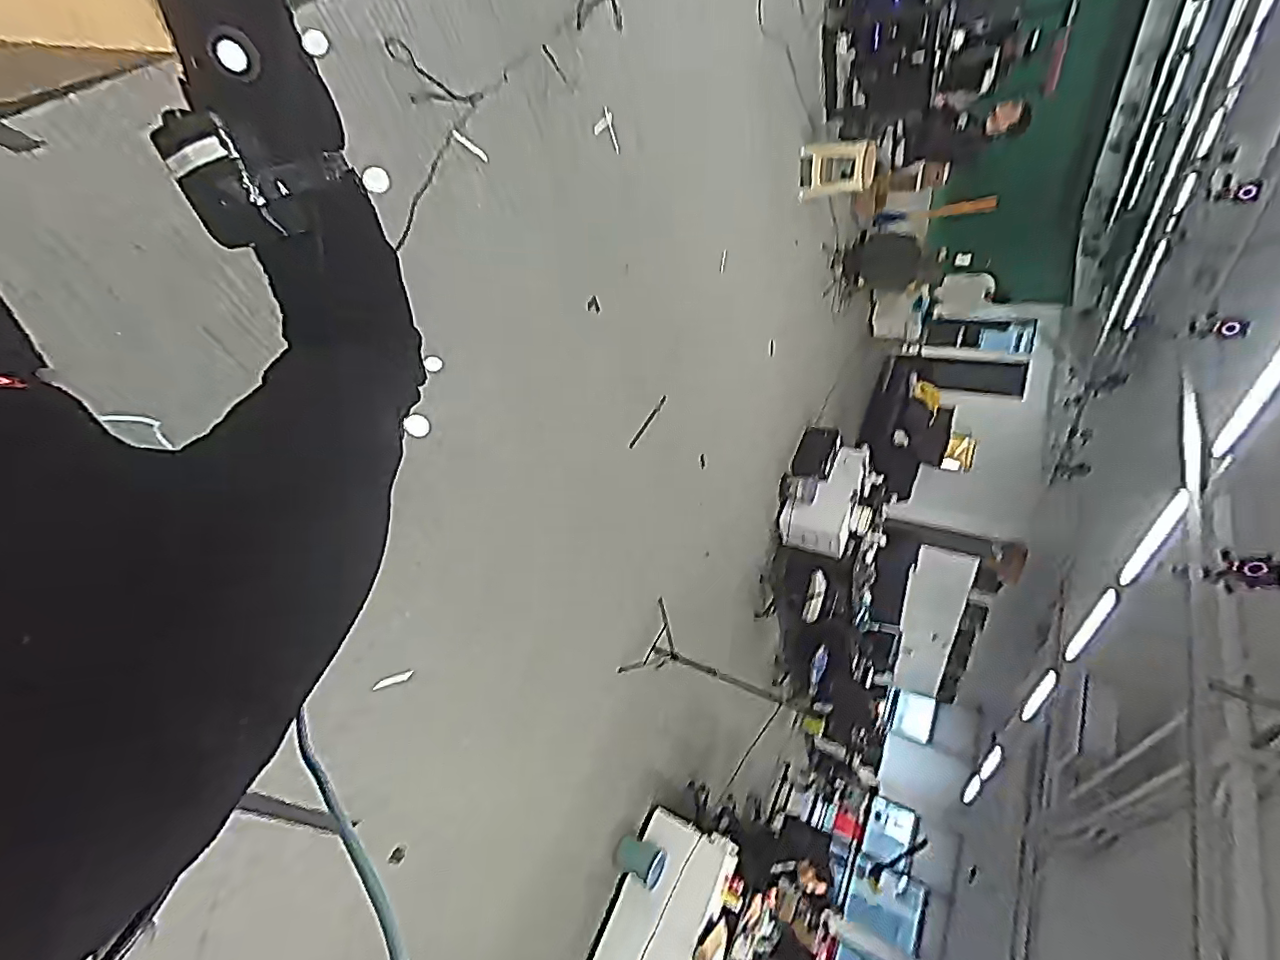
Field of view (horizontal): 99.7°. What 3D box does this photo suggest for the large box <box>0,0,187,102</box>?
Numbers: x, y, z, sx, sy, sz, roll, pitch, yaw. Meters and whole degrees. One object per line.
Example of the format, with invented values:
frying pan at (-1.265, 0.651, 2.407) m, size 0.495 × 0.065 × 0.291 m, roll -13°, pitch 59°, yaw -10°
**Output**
large box at (-0.473, -0.292, 0.135) m, size 0.408 × 0.320 × 0.320 m, roll -41°, pitch 140°, yaw -45°
